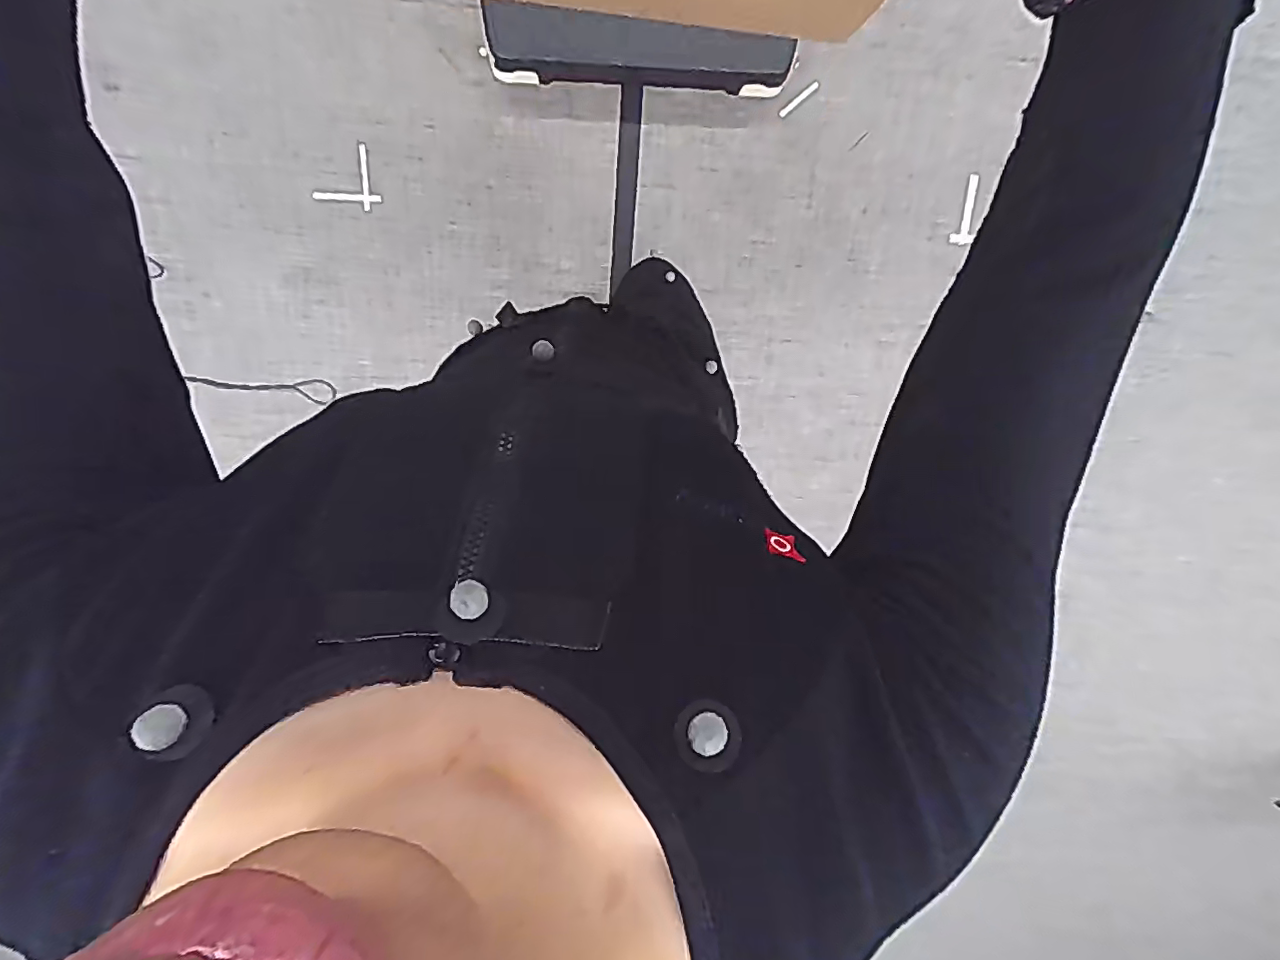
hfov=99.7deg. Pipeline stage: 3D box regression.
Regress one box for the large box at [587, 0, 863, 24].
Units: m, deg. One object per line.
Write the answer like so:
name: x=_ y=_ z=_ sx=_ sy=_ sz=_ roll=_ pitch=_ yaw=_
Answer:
large box: x=0.005 y=-0.511 z=0.287 sx=0.408 sy=0.320 sz=0.320 roll=3 pitch=110 yaw=-4
